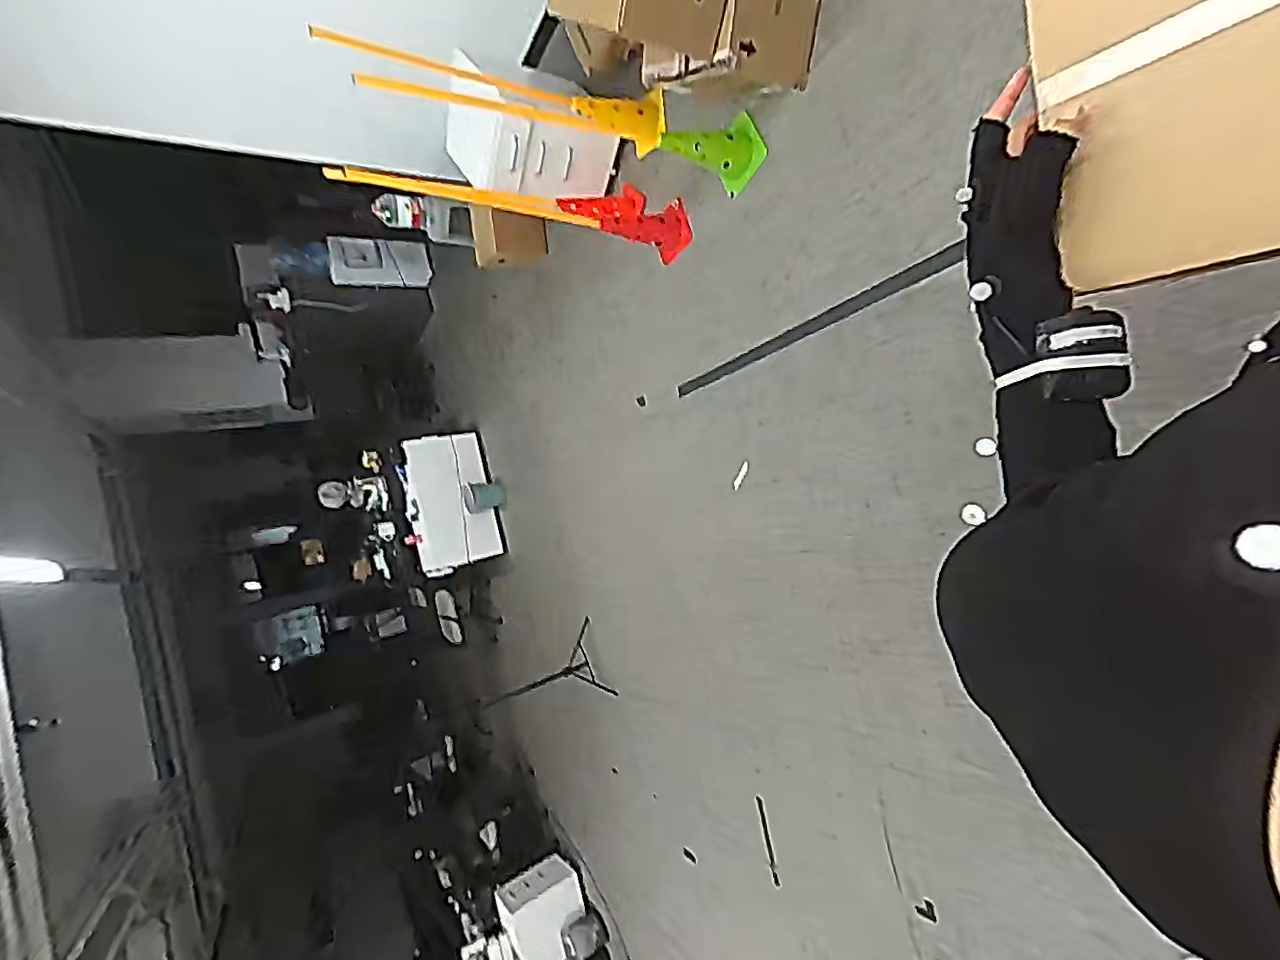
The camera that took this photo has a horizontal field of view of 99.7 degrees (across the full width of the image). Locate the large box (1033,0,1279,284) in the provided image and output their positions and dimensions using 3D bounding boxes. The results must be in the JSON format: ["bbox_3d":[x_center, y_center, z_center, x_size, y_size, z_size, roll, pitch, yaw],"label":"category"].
[{"bbox_3d":[0.551,-0.349,0.367,0.408,0.320,0.320,-2,103,49],"label":"large box"}]
